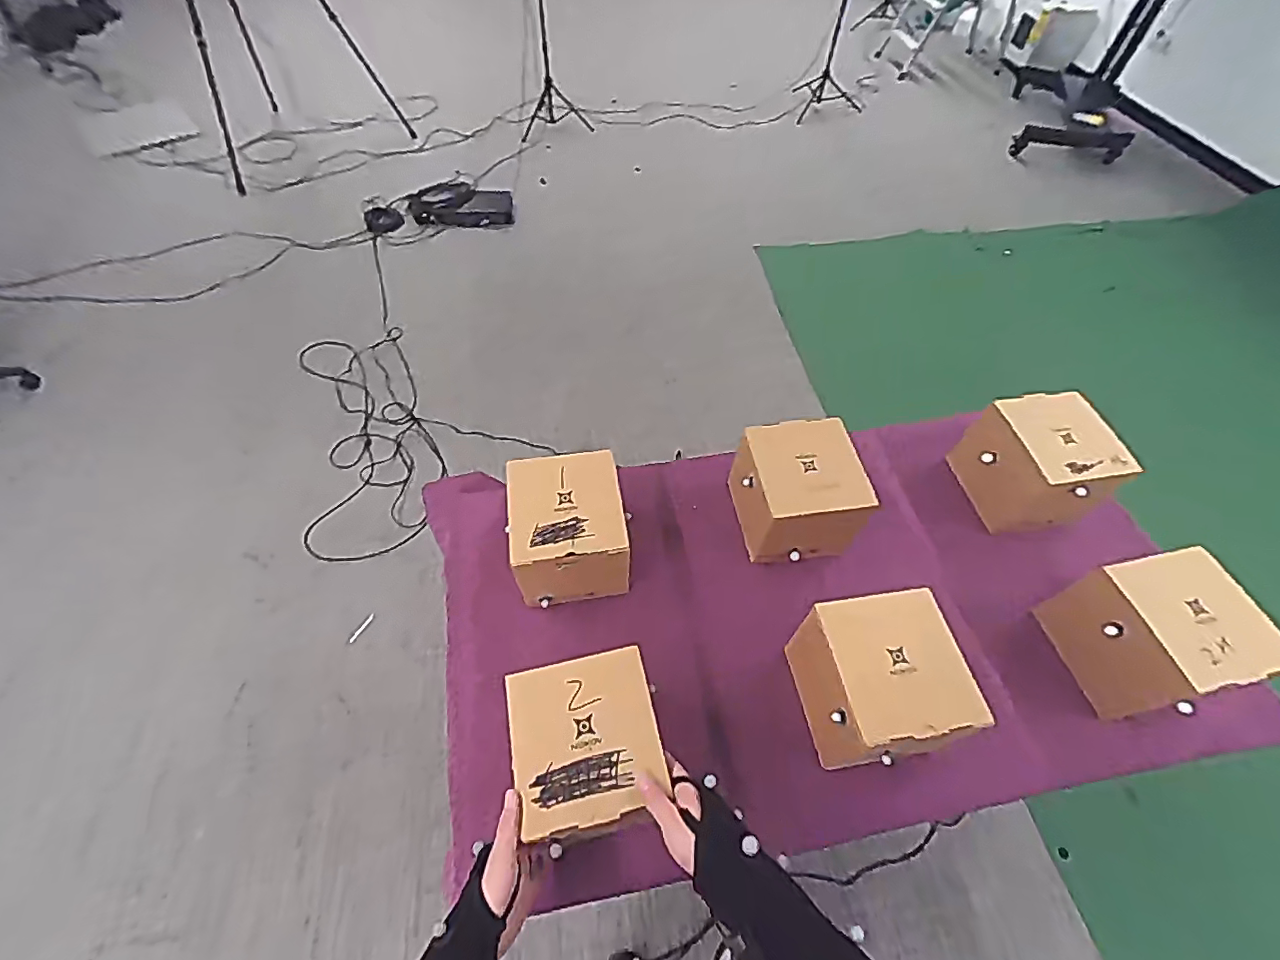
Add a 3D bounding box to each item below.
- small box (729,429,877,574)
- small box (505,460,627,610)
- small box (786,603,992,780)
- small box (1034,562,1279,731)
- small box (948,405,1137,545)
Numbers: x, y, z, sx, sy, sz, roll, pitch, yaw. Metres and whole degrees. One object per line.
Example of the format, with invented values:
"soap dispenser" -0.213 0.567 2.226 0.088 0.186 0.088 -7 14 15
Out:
"small box" 0.256 0.038 0.902 0.168 0.176 0.179 -6 58 -6
"small box" -0.112 0.092 0.841 0.168 0.176 0.179 -6 57 -8
"small box" 0.317 0.290 0.736 0.168 0.176 0.179 -6 56 -8
"small box" 0.732 0.244 0.784 0.168 0.176 0.179 -9 57 -7
"small box" 0.687 -0.007 0.953 0.168 0.176 0.179 -7 57 -7
